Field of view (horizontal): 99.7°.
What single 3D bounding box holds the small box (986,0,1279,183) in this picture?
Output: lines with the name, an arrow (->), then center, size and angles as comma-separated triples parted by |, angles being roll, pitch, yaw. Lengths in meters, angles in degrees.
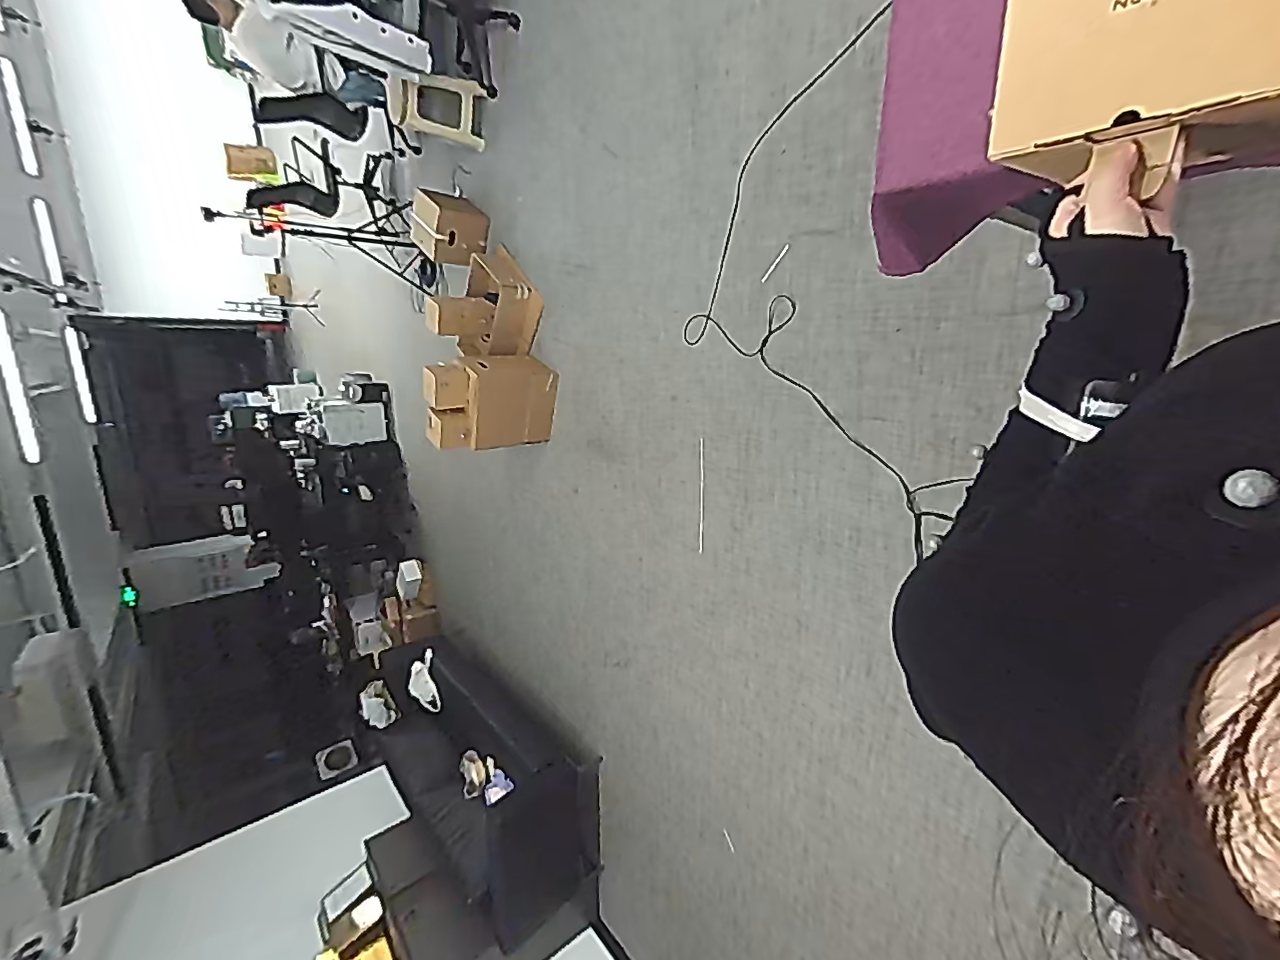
small box -> 0.387, -0.336, 0.392 | 0.168, 0.176, 0.179 | 19, 117, 51
